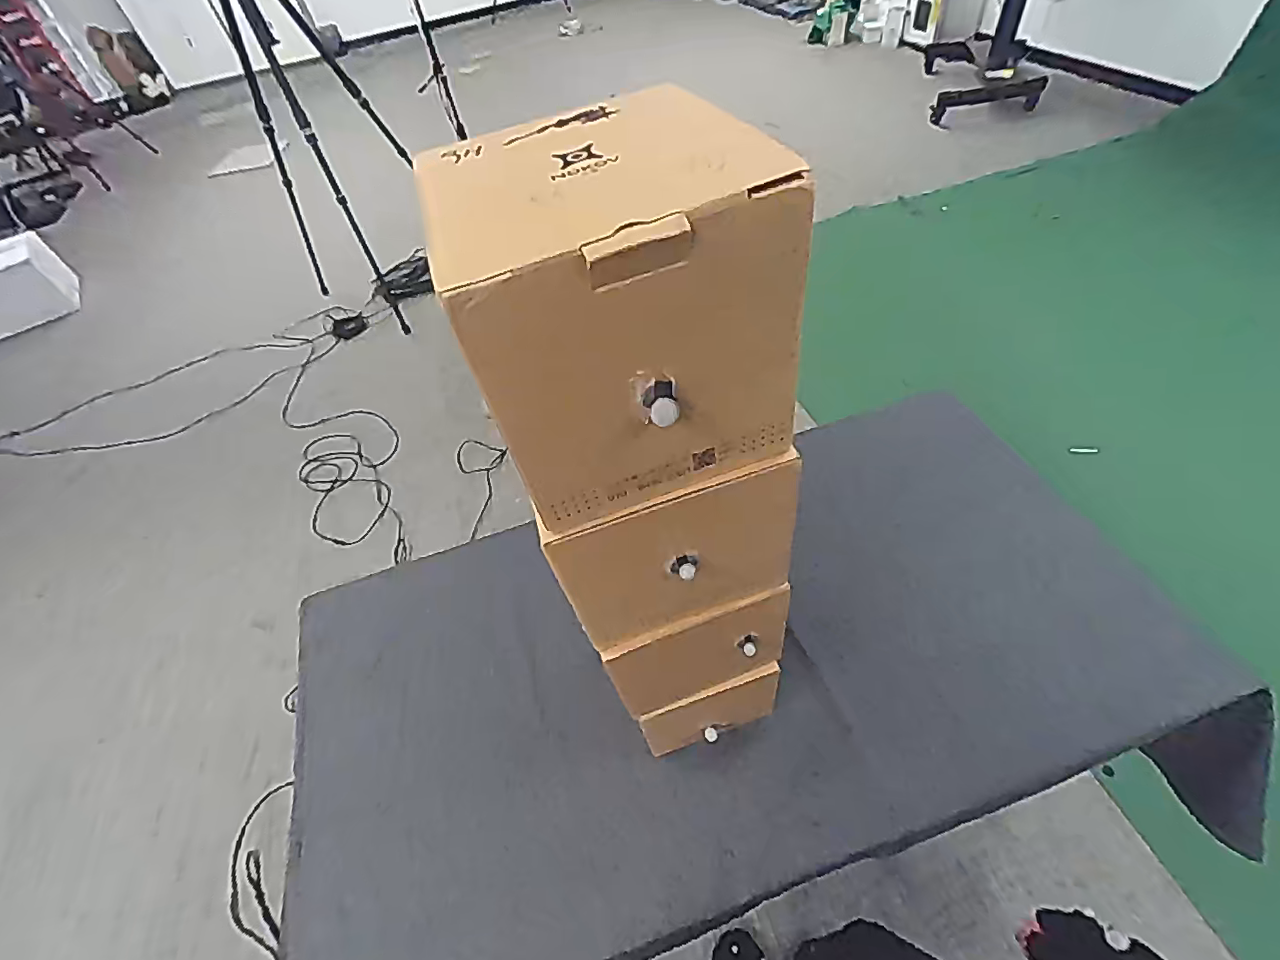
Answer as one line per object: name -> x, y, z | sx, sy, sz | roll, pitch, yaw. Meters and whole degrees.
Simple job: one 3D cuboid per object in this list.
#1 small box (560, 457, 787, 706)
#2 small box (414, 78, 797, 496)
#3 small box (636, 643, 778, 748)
small box -> 0.033, 0.110, 0.572 | 0.179, 0.176, 0.168 | -20, 49, -6
small box -> -0.020, -0.111, 0.337 | 0.168, 0.176, 0.179 | -19, 50, -6
small box -> 0.061, 0.213, 0.696 | 0.168, 0.176, 0.179 | -18, 51, -4
